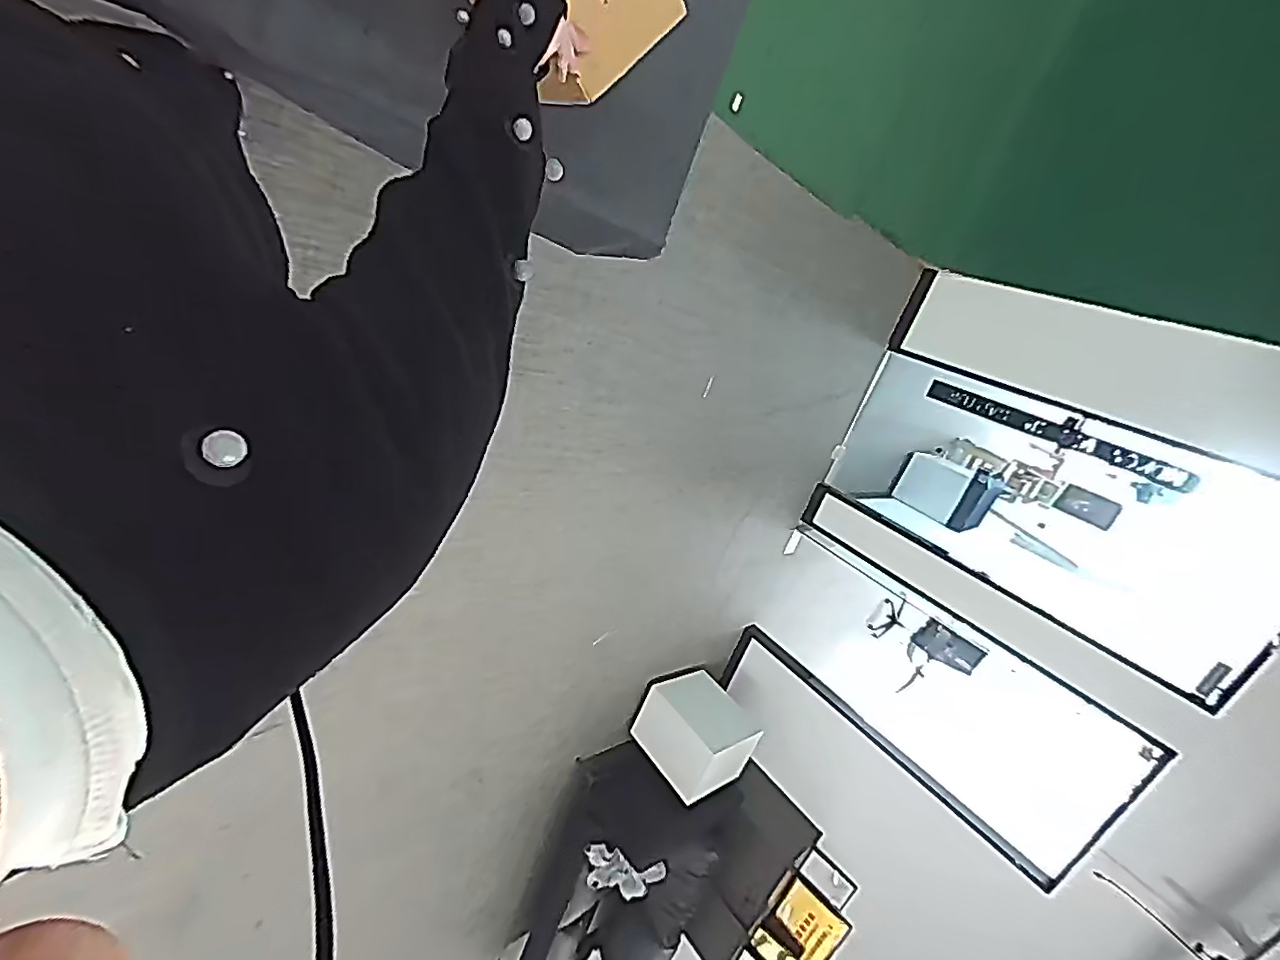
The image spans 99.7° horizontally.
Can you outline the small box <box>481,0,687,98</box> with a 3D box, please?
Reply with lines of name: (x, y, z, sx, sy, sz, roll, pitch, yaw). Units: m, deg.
small box: (-0.081, -0.595, 0.646, 0.179, 0.176, 0.168, -48, 141, -6)
